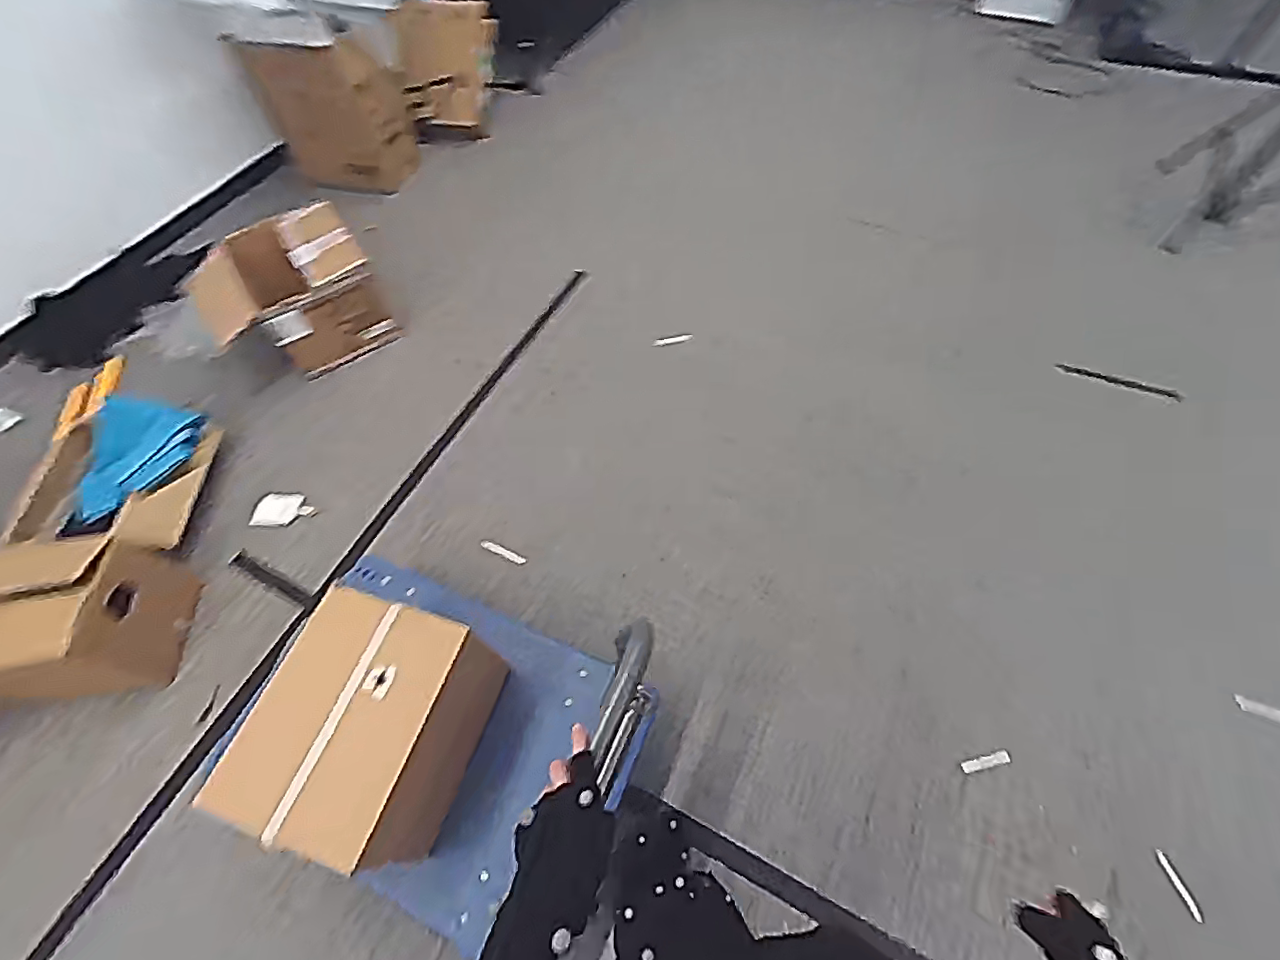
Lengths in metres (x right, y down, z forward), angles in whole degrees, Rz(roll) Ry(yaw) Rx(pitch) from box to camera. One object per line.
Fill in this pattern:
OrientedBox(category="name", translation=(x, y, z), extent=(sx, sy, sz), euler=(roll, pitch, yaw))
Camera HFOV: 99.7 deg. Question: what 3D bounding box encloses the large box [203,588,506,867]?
OrientedBox(category="large box", translation=(-0.521, 0.491, 1.088), extent=(0.320, 0.320, 0.408), euler=(13, 59, 11))
